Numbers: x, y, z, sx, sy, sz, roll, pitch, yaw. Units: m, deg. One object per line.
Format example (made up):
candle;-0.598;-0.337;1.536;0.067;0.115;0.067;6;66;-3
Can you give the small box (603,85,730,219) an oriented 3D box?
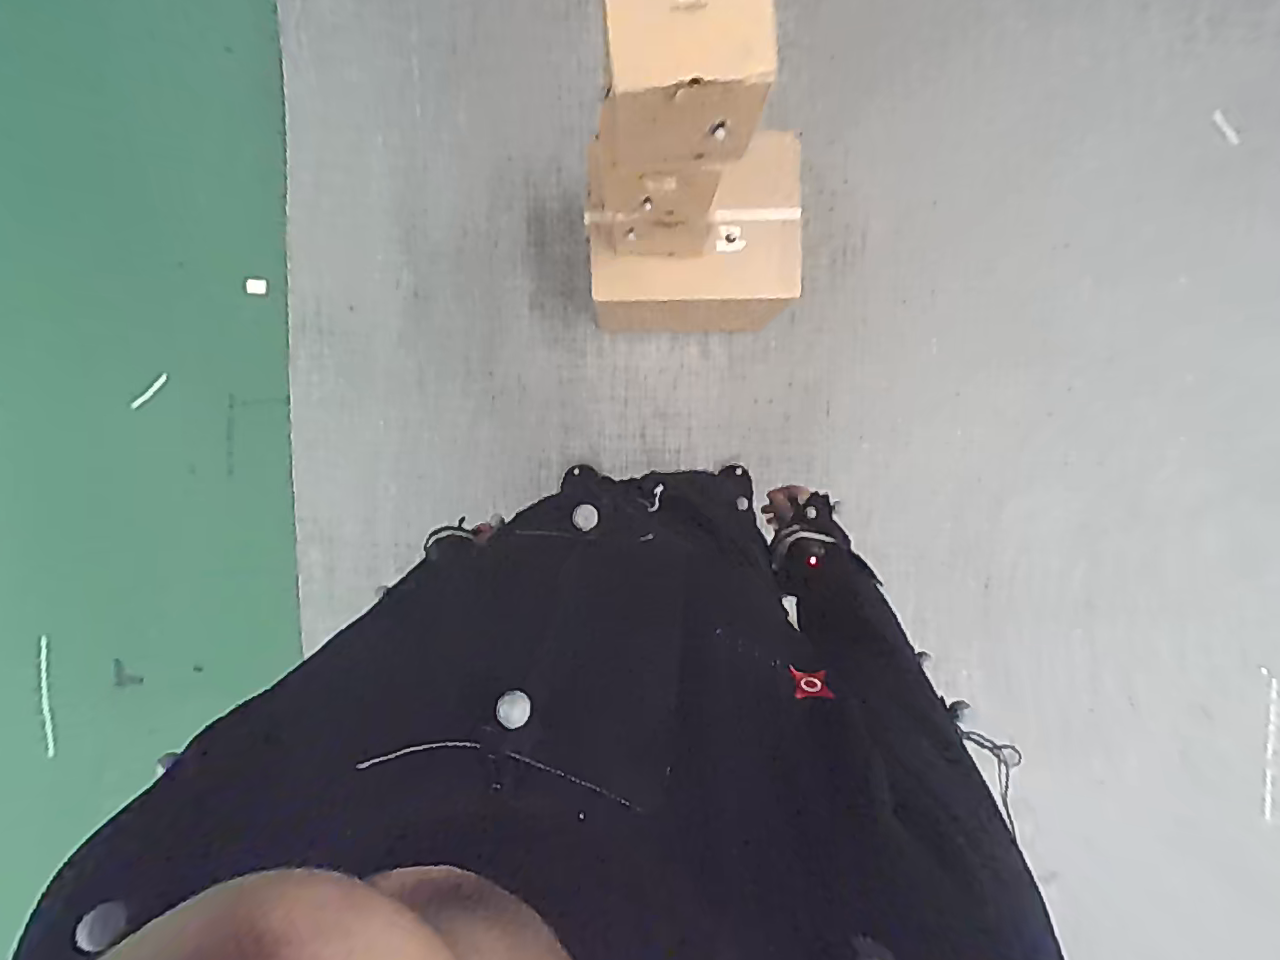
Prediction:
small box;0.038;-0.496;0.761;0.168;0.176;0.179;4;94;-1

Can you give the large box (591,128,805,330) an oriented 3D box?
large box;0.107;-0.514;1.168;0.408;0.320;0.320;-1;95;-2

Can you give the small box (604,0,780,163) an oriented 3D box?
small box;0.048;-0.478;0.600;0.168;0.176;0.179;-6;94;-2
